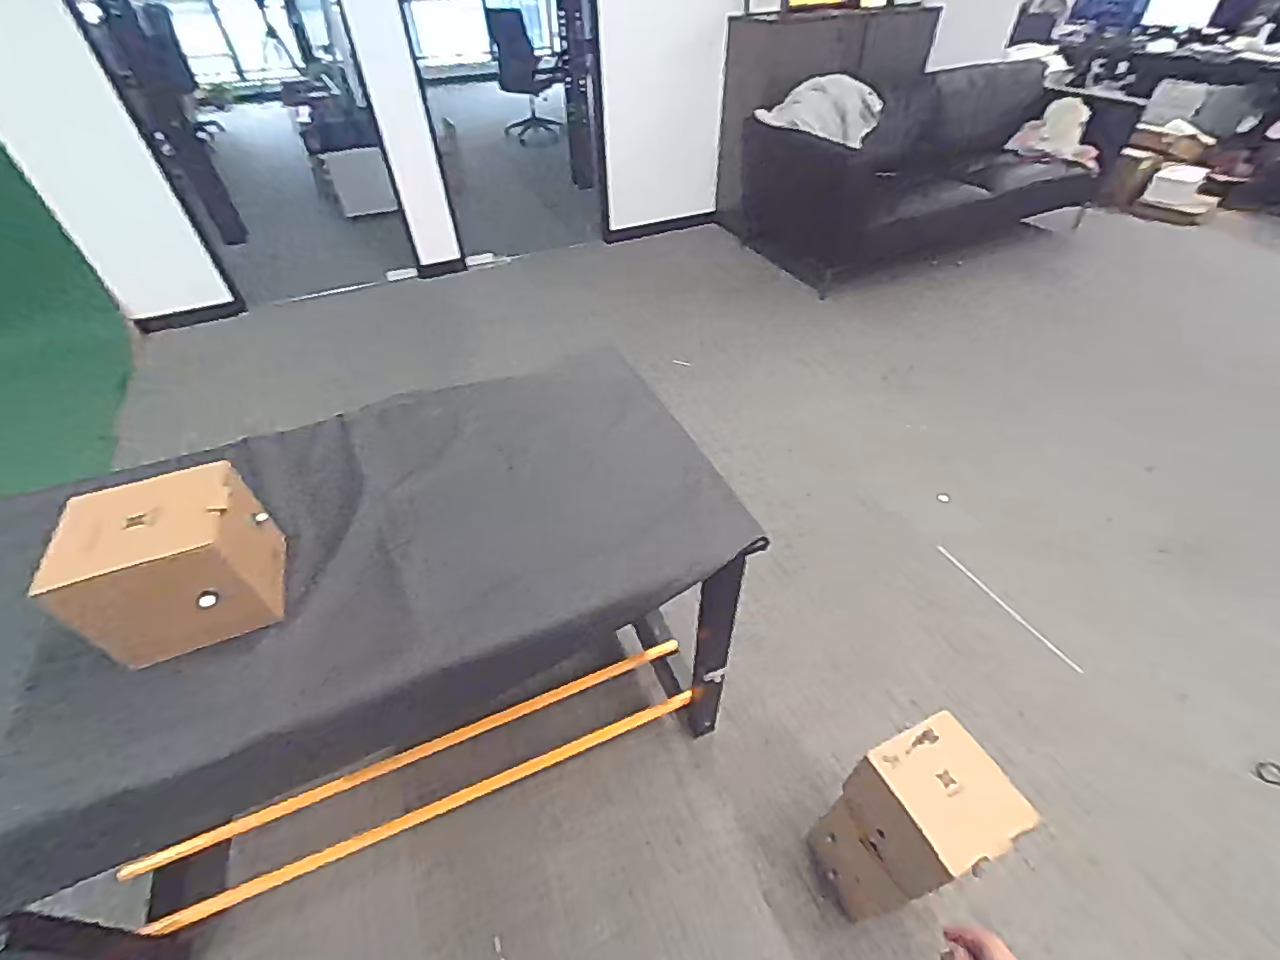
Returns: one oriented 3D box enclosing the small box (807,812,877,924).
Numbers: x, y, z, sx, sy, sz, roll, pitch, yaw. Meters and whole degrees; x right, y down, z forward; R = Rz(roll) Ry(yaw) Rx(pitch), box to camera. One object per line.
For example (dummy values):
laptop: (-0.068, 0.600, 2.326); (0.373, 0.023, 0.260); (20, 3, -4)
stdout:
small box: (0.461, 0.738, 1.074); (0.179, 0.176, 0.168); (-17, 45, -16)

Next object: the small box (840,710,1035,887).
small box: (0.447, 0.501, 0.845); (0.168, 0.176, 0.179); (-17, 47, -17)

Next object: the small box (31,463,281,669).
small box: (-0.595, 0.110, 0.701); (0.179, 0.176, 0.168); (-19, 45, -17)

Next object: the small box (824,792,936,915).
small box: (0.449, 0.625, 0.954); (0.179, 0.176, 0.168); (-18, 47, -18)
